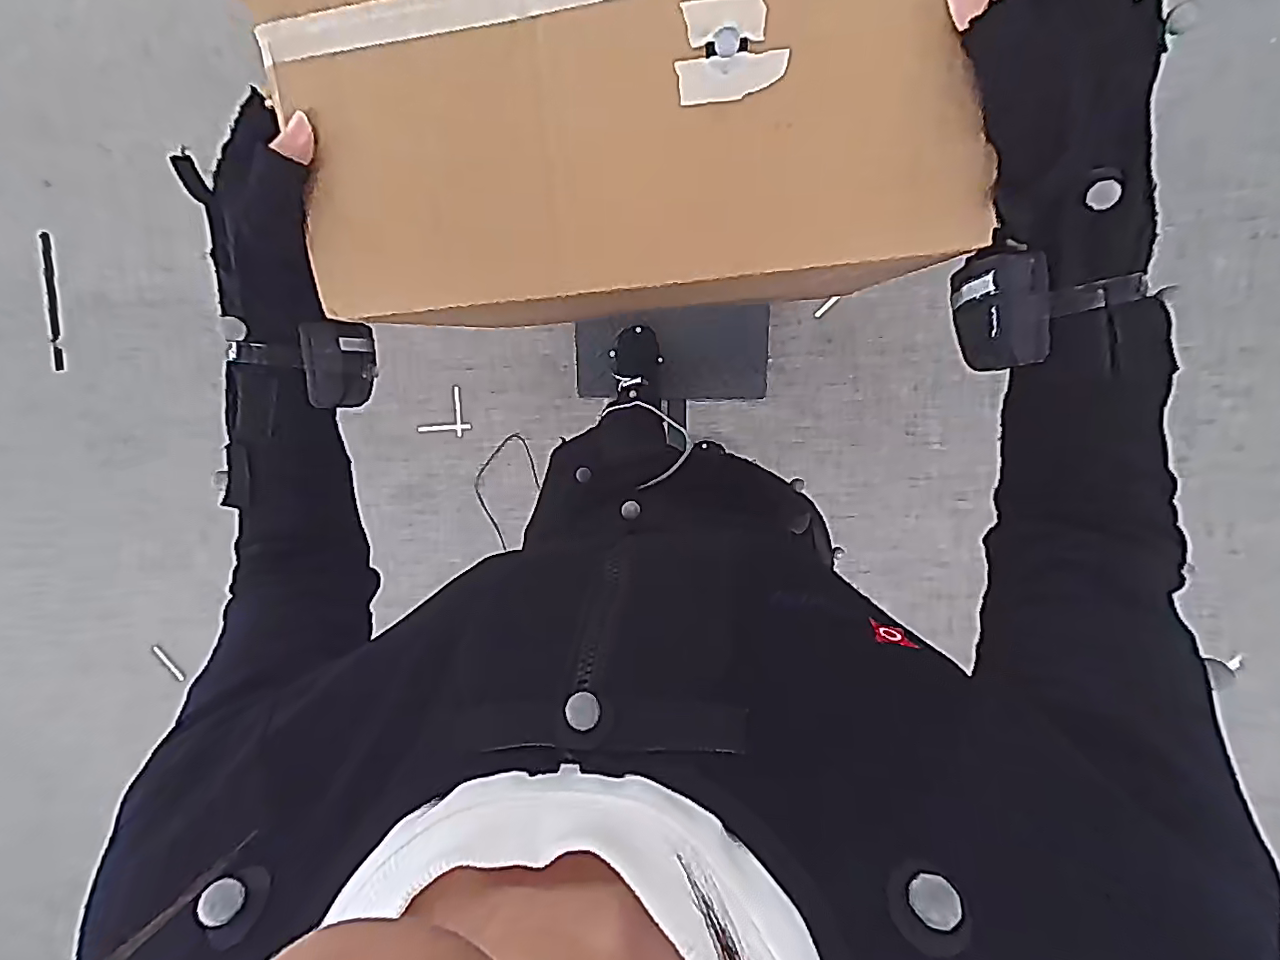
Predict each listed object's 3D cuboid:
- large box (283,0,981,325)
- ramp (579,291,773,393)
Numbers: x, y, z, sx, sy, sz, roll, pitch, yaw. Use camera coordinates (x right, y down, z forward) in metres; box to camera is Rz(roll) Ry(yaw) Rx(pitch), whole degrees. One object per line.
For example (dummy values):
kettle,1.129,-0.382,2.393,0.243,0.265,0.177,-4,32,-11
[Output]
large box,-0.002,-0.314,0.448,0.408,0.320,0.320,-4,105,8
ramp,0.082,-0.705,1.273,0.509,0.206,0.991,0,97,7
